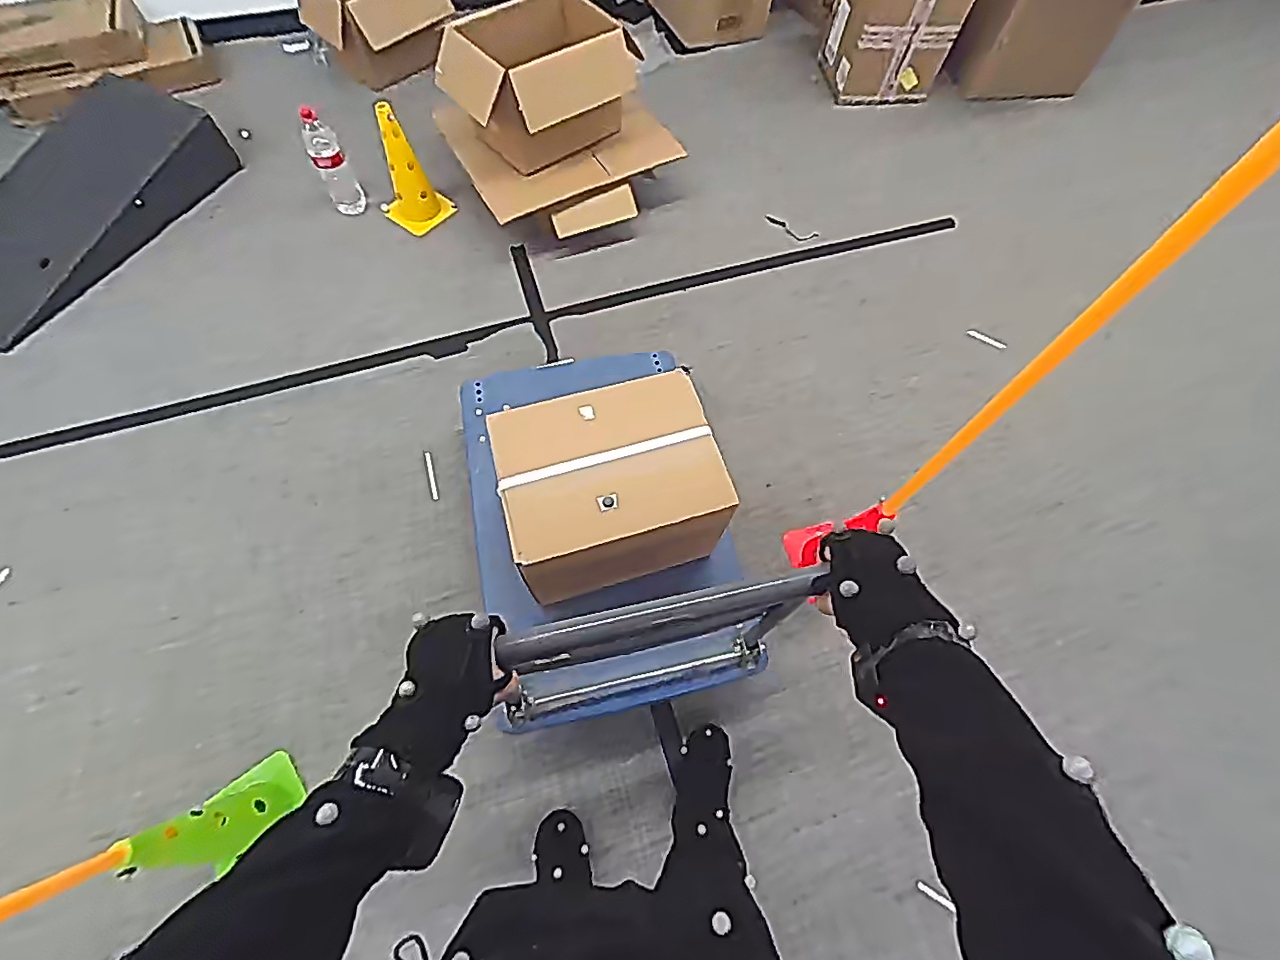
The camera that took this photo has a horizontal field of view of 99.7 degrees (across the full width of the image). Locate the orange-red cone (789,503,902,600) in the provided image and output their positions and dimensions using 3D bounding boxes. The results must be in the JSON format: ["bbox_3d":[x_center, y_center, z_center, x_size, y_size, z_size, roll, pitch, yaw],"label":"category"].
[{"bbox_3d":[0.514,0.135,1.269,0.199,0.360,0.198,-10,66,-8],"label":"orange-red cone"}]
